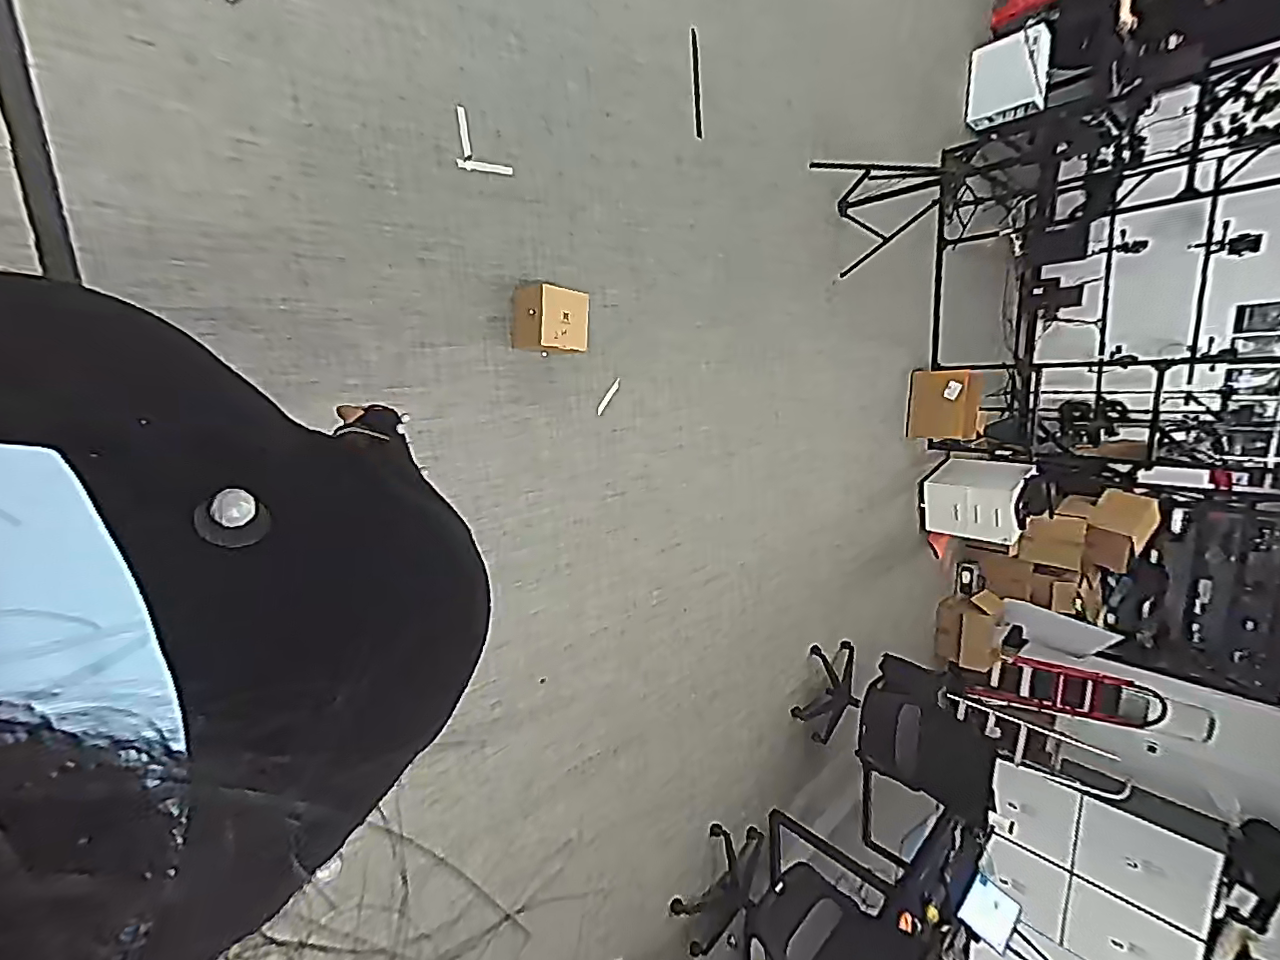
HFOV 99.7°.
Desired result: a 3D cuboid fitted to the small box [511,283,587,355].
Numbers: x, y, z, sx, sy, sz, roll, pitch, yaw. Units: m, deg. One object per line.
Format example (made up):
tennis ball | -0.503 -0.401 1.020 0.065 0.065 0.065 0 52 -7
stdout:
small box | -0.281 -0.485 1.655 0.168 0.176 0.179 -2 99 -42
